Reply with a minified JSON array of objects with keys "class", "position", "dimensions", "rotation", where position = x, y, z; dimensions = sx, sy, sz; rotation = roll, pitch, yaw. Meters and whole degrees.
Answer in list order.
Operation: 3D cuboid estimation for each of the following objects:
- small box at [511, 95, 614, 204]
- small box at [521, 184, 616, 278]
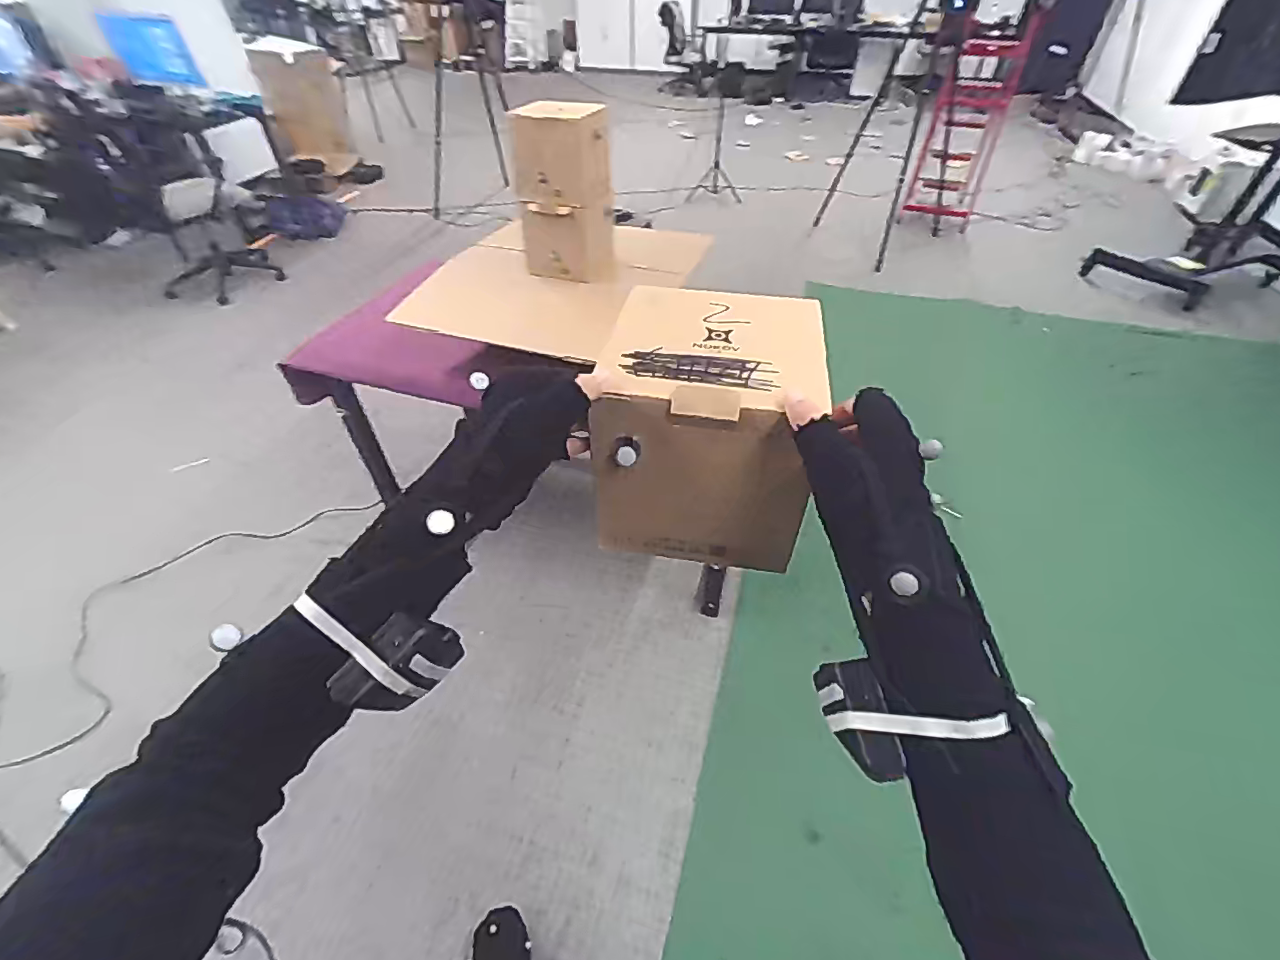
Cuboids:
[{"class":"small box","position":[-0.164,-0.729,1.194],"dimensions":[0.168,0.176,0.179],"rotation":[13,45,12]},{"class":"small box","position":[-0.166,-0.610,1.305],"dimensions":[0.168,0.176,0.179],"rotation":[14,45,14]}]
